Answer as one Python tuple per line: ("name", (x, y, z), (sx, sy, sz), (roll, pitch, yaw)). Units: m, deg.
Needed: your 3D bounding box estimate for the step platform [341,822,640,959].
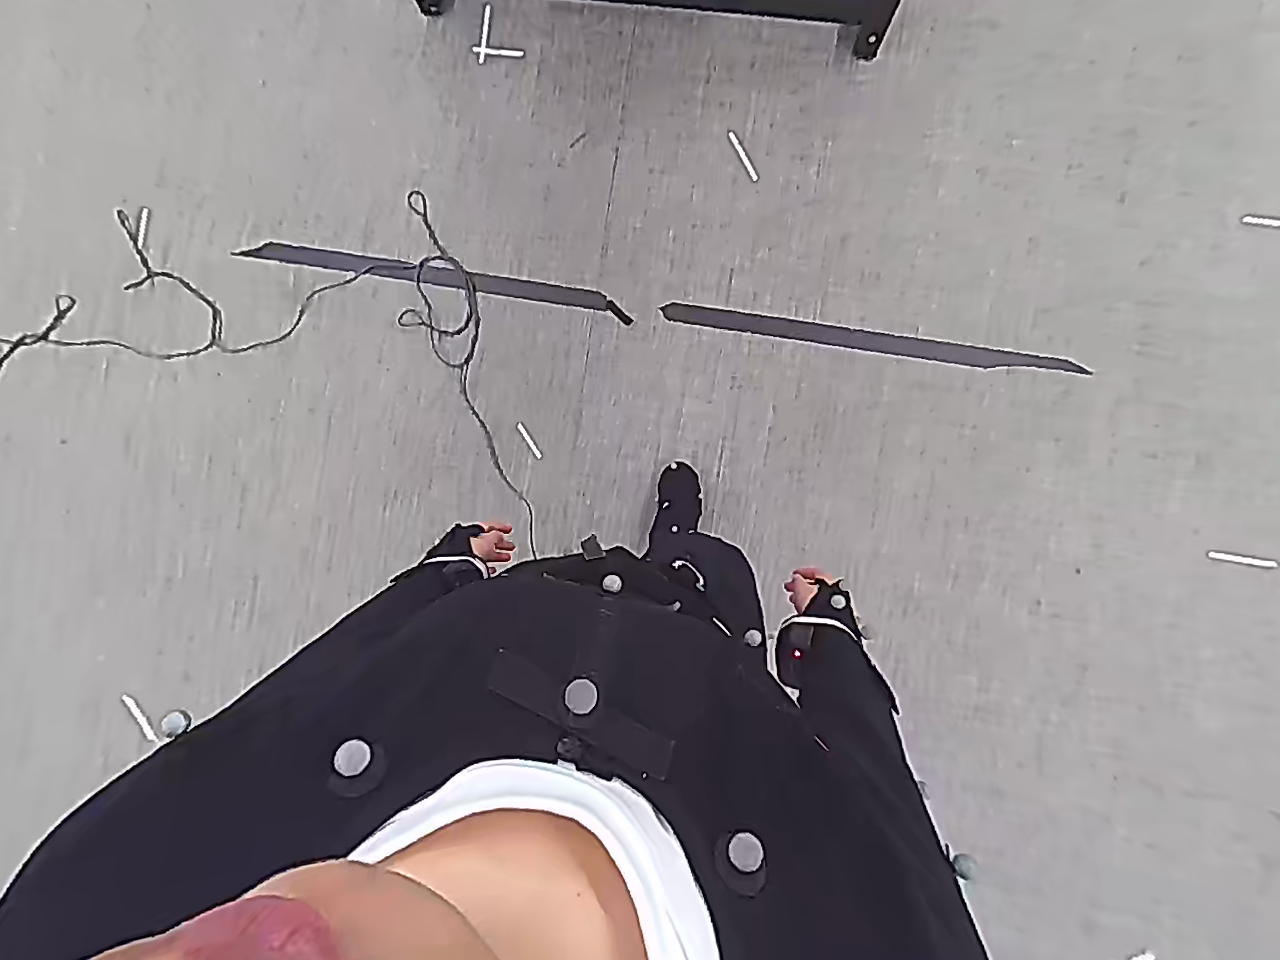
("step platform", (-0.347, 1.073, 1.299), (0.684, 0.204, 0.286), (8, 90, 3))
